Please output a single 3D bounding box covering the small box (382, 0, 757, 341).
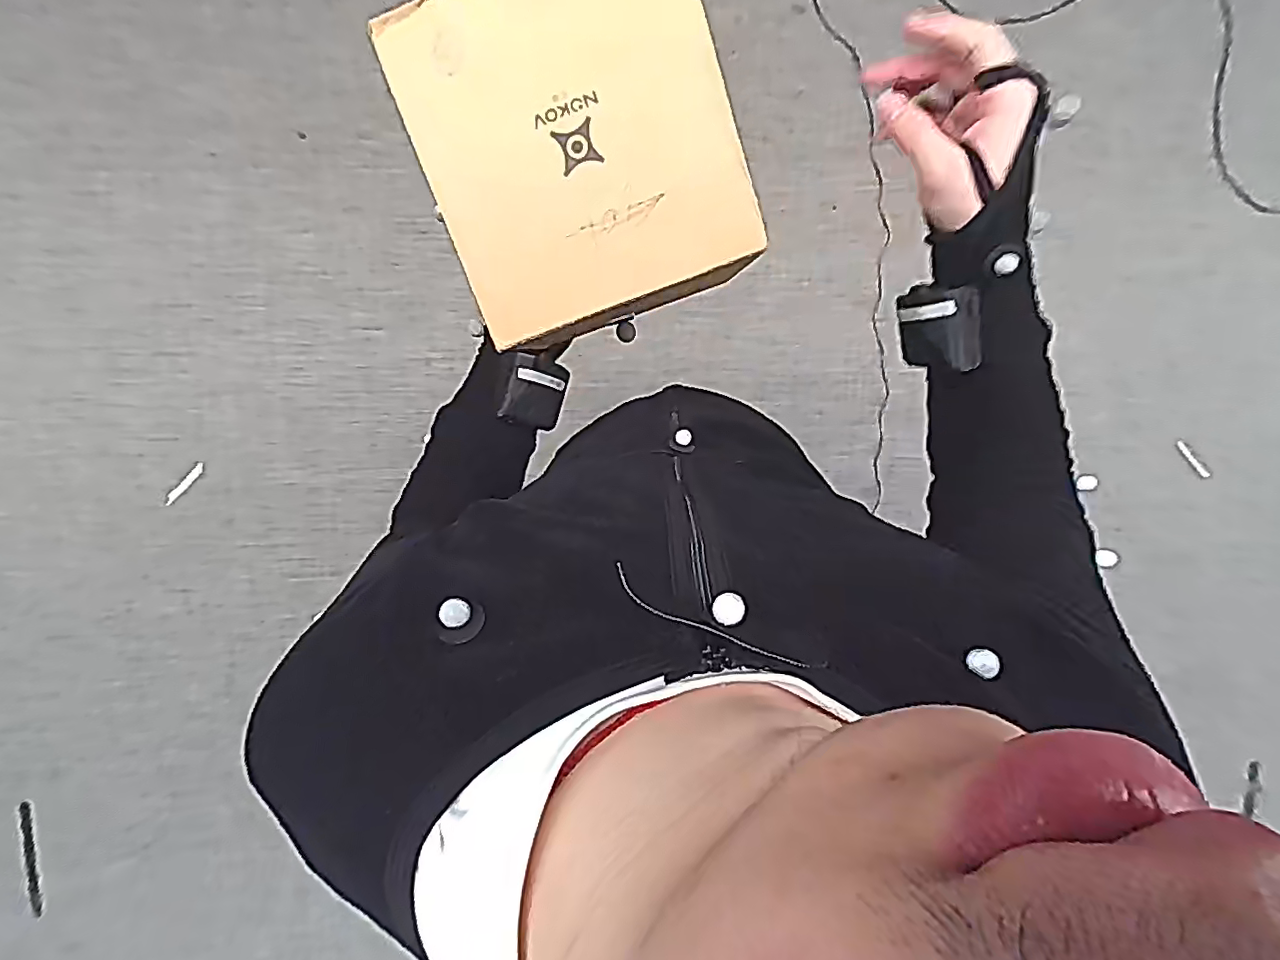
[{"bbox_3d":[-0.034,-0.204,0.375,0.168,0.176,0.179,-18,103,6],"label":"small box"}]
